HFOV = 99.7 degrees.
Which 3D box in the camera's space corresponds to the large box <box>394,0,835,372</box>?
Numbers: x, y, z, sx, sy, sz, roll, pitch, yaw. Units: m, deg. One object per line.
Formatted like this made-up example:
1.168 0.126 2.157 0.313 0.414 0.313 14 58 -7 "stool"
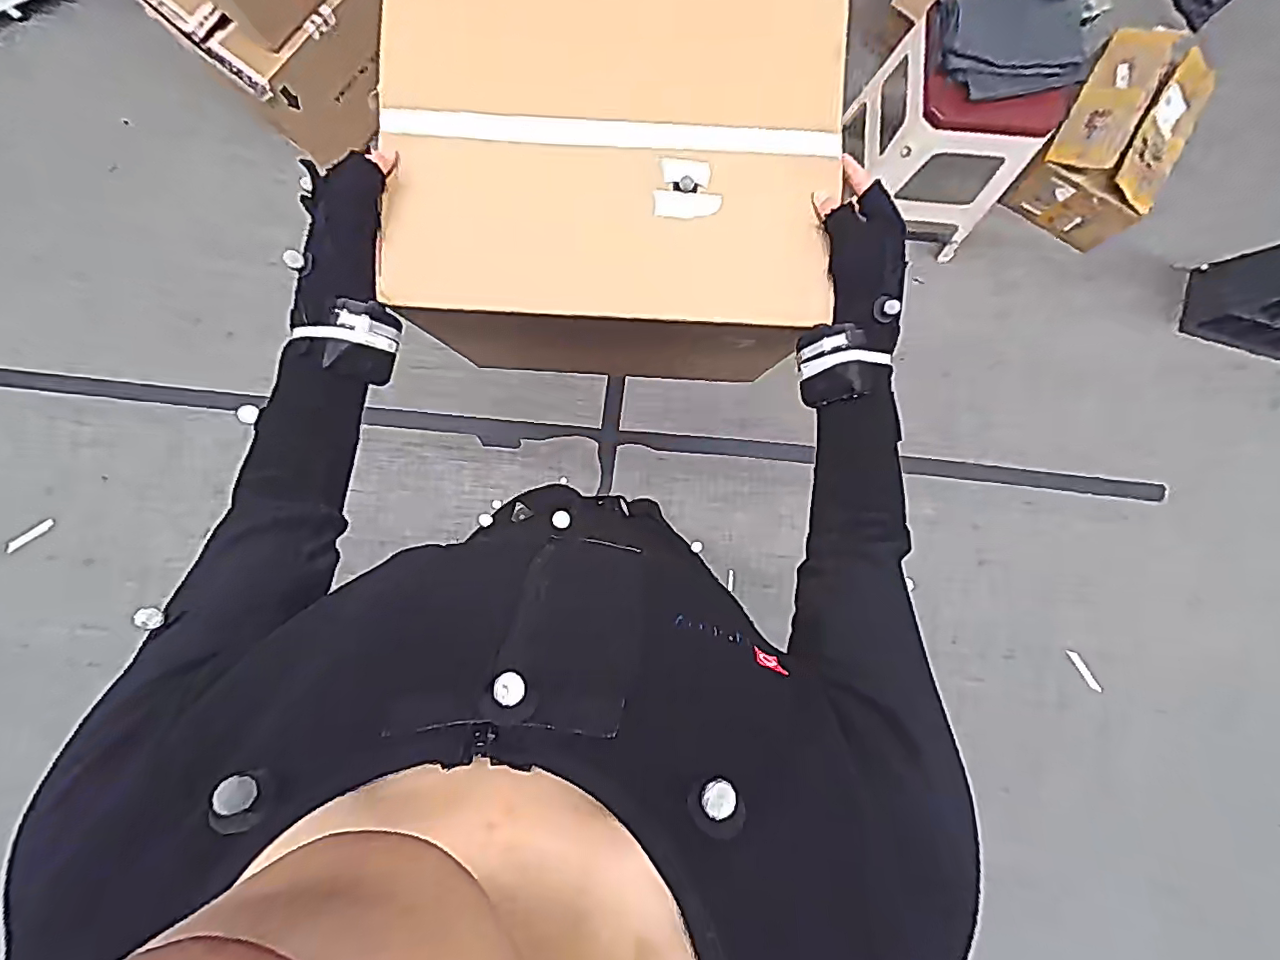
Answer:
-0.028 -0.312 0.642 0.408 0.320 0.320 2 92 -2 "large box"
